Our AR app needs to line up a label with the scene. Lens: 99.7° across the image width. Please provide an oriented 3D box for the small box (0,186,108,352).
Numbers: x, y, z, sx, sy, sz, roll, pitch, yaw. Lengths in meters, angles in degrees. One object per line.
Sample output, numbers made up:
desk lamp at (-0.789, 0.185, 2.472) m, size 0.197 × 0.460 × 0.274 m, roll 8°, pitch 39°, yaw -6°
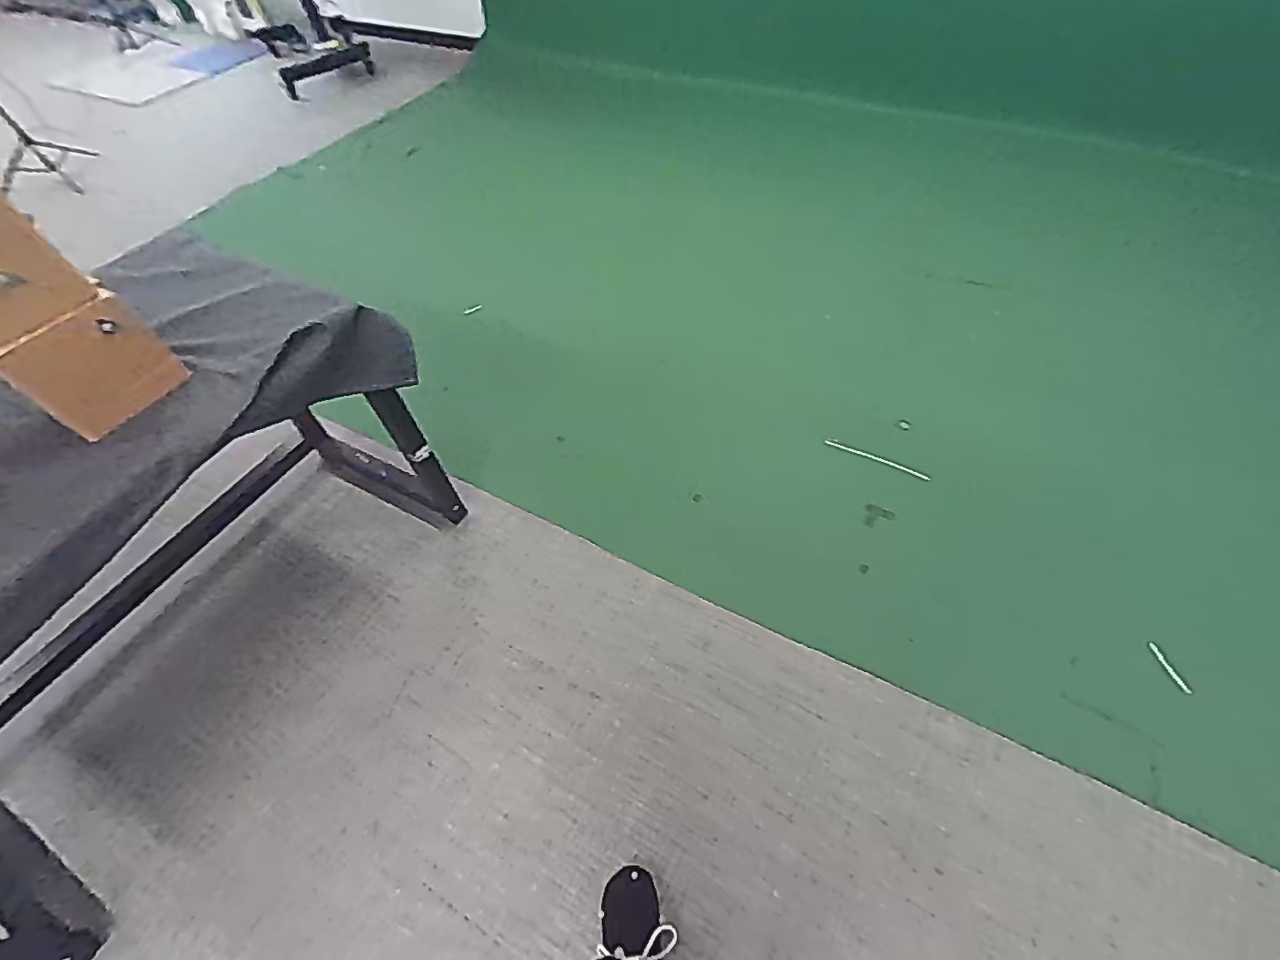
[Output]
small box at (-0.900, -0.298, 0.719) m, size 0.168 × 0.176 × 0.179 m, roll 27°, pitch 60°, yaw 21°

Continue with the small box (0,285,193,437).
small box at (-0.877, -0.198, 0.852) m, size 0.168 × 0.176 × 0.179 m, roll 24°, pitch 59°, yaw 19°
